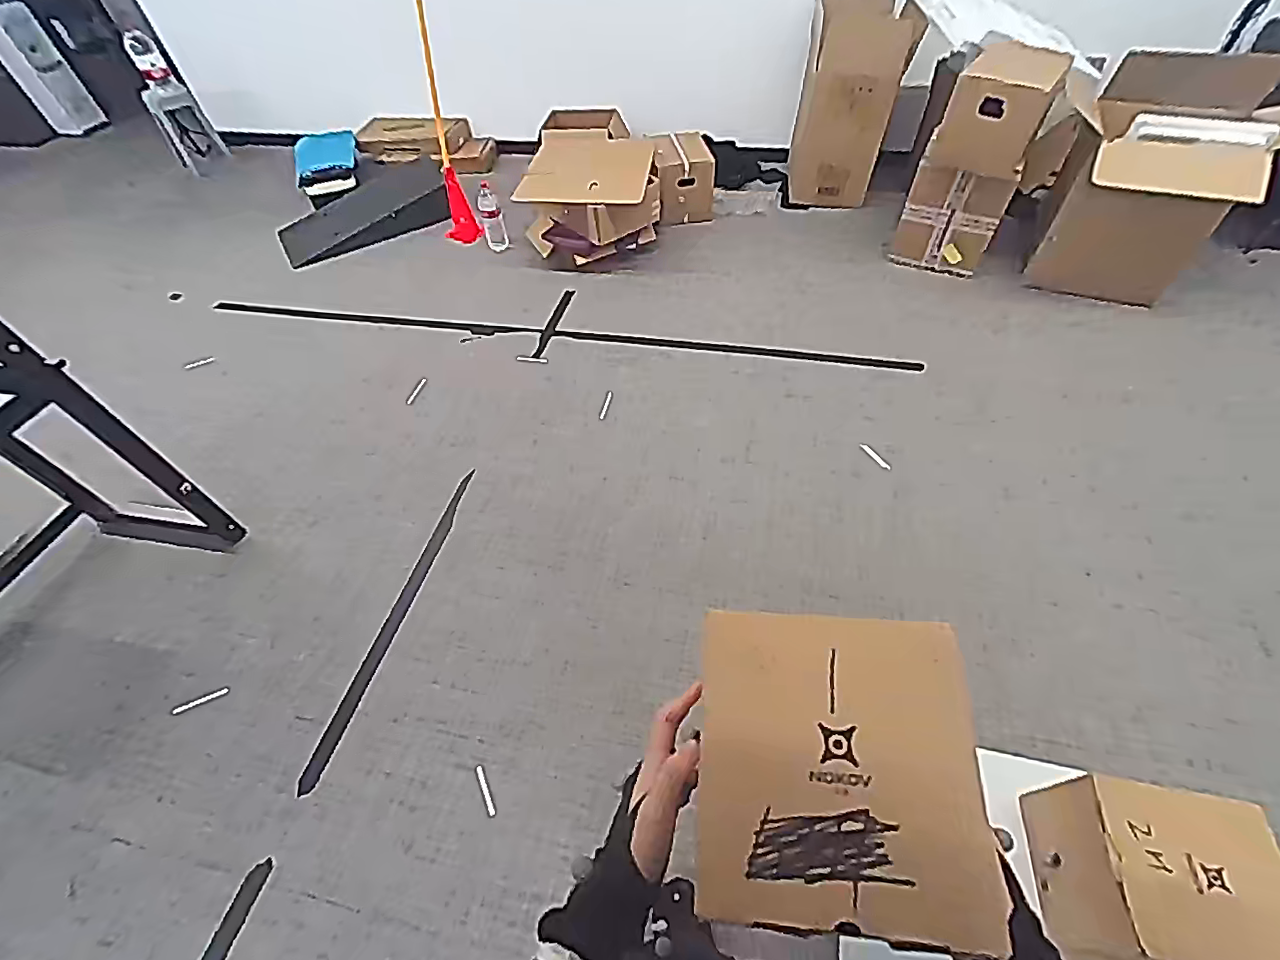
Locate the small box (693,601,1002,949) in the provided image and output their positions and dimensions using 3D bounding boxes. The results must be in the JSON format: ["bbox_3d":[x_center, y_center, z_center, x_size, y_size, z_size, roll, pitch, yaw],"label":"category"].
[{"bbox_3d":[0.128,0.201,0.402,0.168,0.176,0.179,3,63,7],"label":"small box"}]

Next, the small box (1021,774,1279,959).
[{"bbox_3d":[0.593,0.463,0.630,0.179,0.176,0.168,7,52,9],"label":"small box"}]
